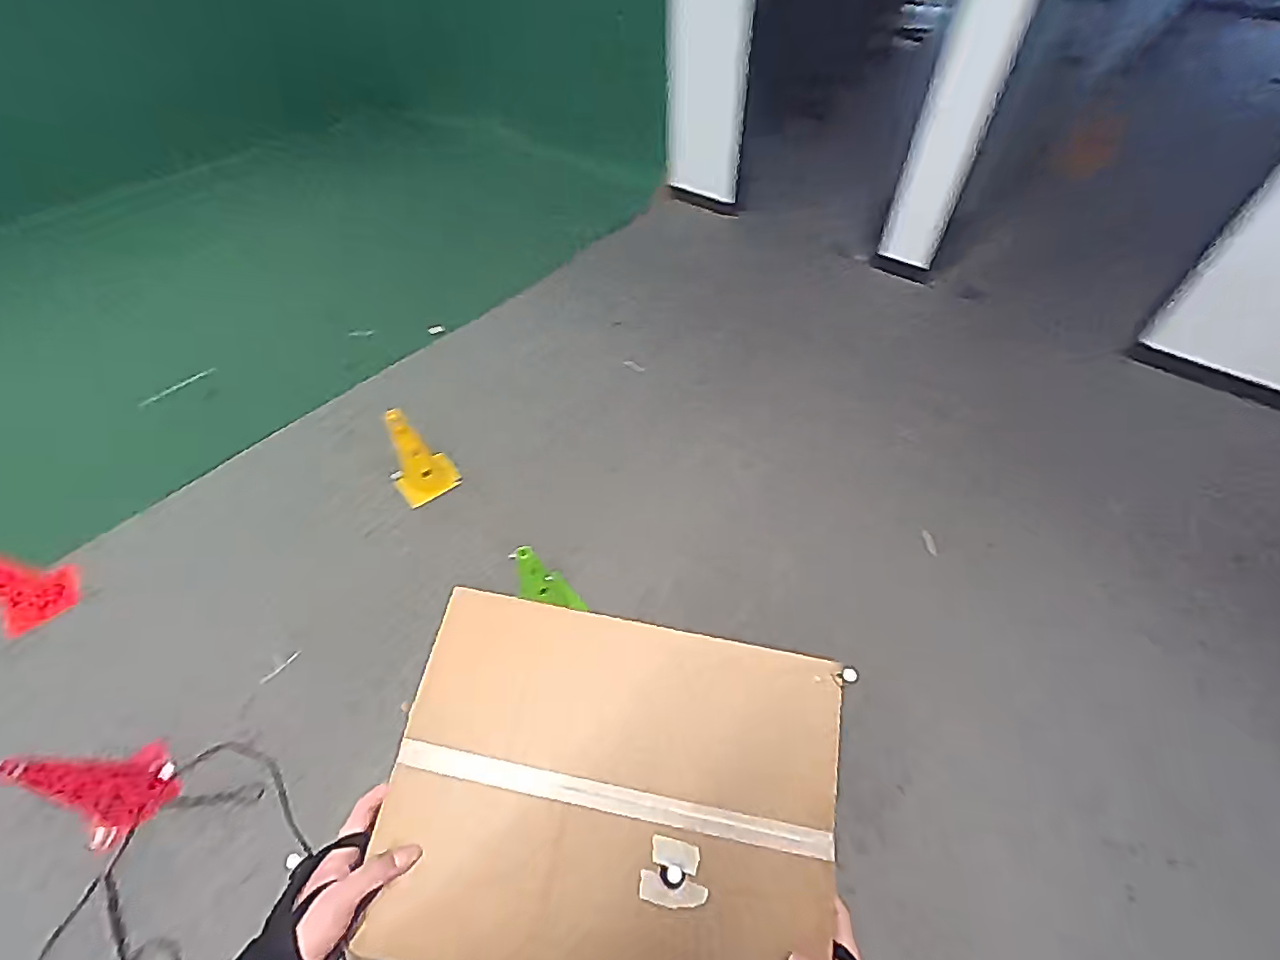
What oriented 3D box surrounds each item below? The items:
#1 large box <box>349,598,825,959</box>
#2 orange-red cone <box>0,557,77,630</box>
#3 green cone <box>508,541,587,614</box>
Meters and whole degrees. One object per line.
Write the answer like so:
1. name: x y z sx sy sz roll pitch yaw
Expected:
1. large box: -0.032 0.348 0.640 0.408 0.320 0.320 9 68 3
2. orange-red cone: -2.027 0.284 1.689 0.199 0.360 0.198 -35 58 -21
3. green cone: -0.306 0.295 1.609 0.200 0.368 0.202 -36 57 -23
